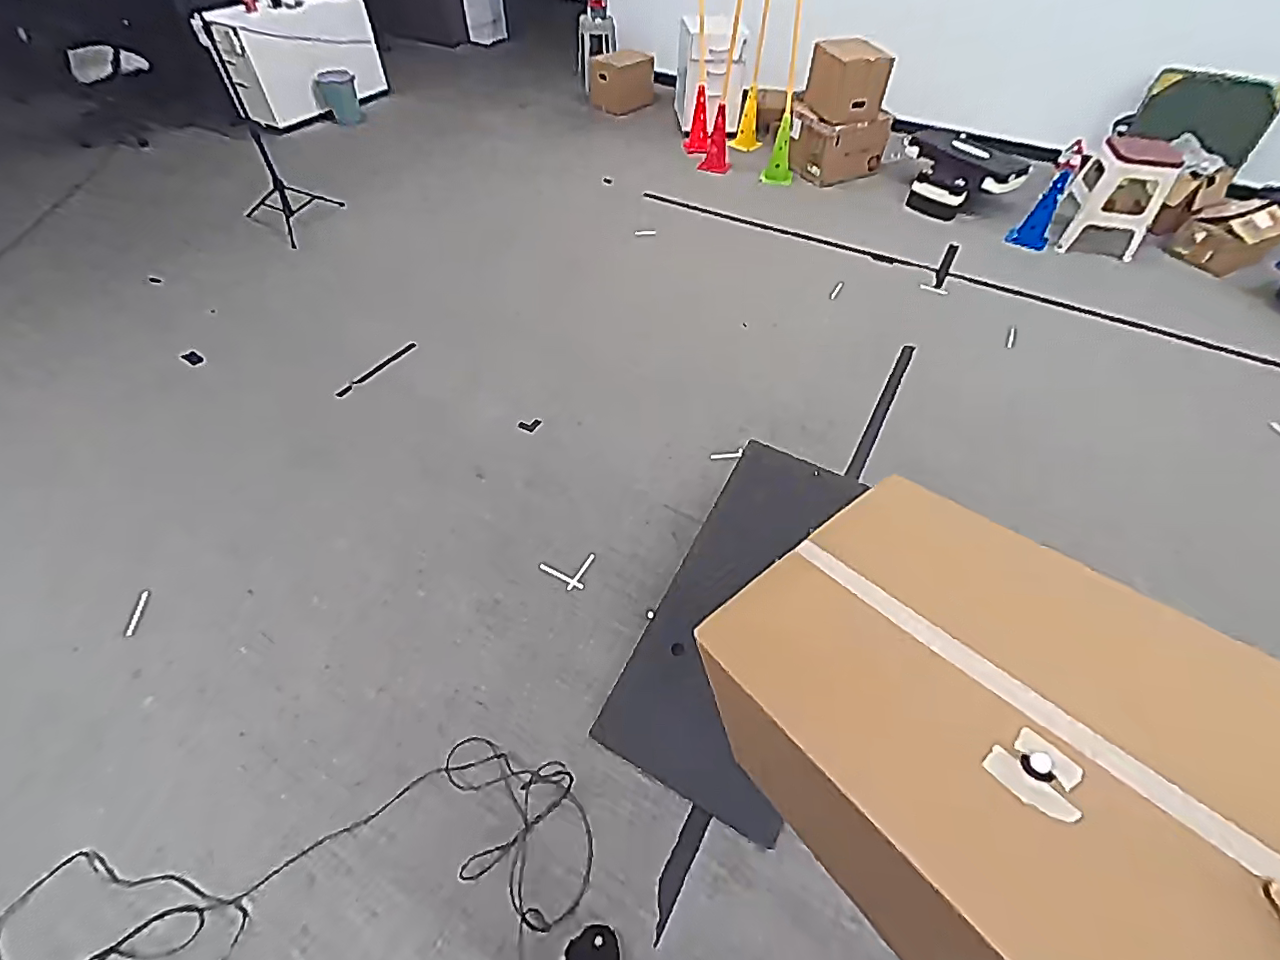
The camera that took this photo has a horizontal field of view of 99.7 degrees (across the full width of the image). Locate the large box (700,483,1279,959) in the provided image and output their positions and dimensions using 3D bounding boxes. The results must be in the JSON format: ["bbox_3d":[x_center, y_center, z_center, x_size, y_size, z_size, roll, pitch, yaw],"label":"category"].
[{"bbox_3d":[0.323,0.274,0.563,0.320,0.320,0.408,-34,43,-17],"label":"large box"}]

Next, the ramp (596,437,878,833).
[{"bbox_3d":[0.333,0.341,1.508,0.509,0.206,0.991,23,55,15],"label":"ramp"}]
